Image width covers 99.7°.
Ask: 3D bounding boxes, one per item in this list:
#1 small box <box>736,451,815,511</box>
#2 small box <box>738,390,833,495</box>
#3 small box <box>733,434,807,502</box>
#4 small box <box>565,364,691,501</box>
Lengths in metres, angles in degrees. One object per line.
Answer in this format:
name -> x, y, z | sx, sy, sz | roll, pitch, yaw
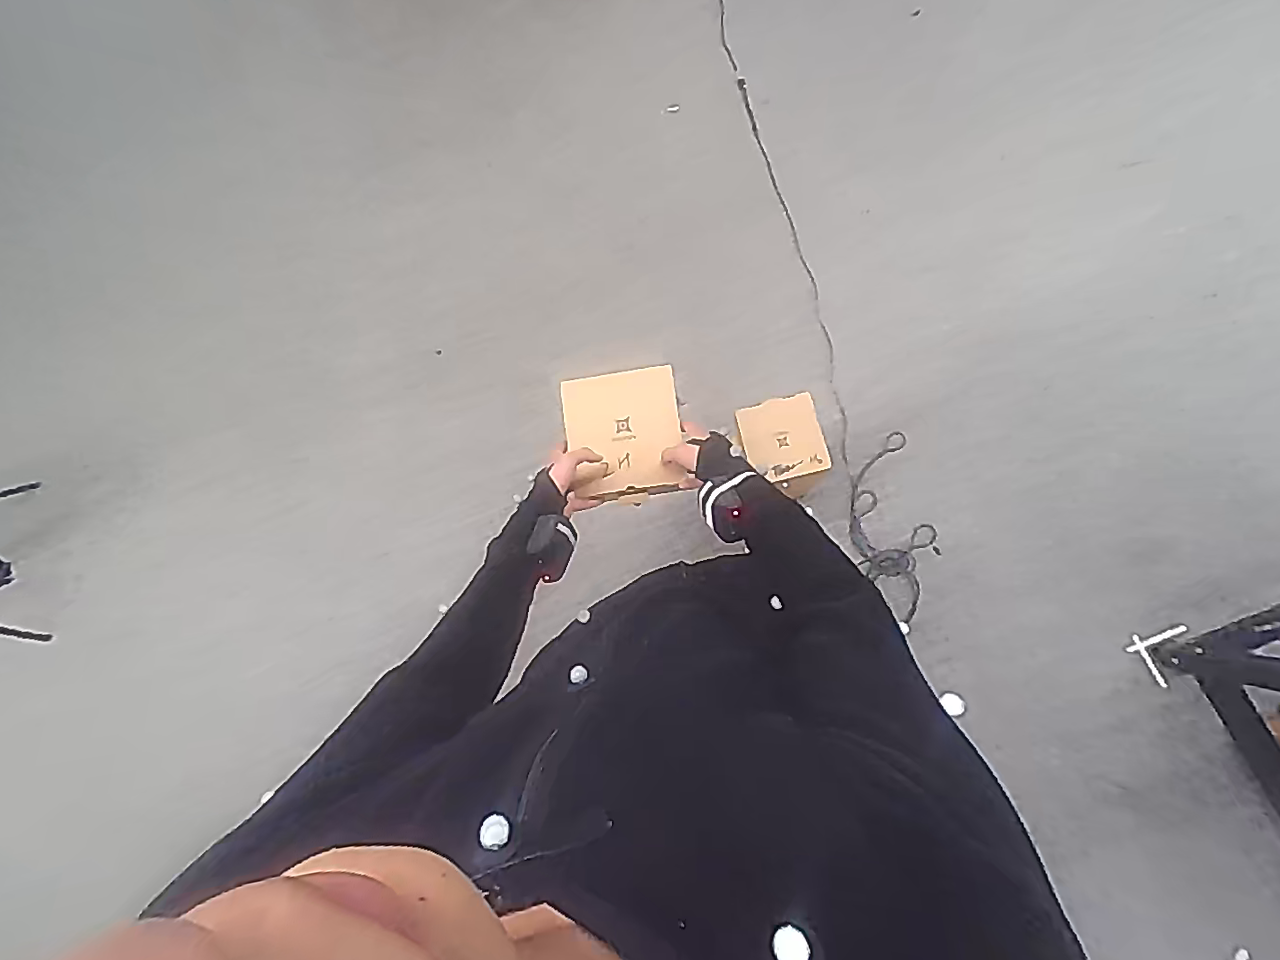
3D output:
small box -> 0.379, -0.027, 1.540 | 0.168, 0.176, 0.179 | -23, 78, 6
small box -> 0.319, -0.077, 1.223 | 0.168, 0.176, 0.179 | -14, 77, 8
small box -> 0.351, -0.052, 1.383 | 0.179, 0.176, 0.168 | -21, 77, 7
small box -> -0.014, -0.066, 0.852 | 0.168, 0.176, 0.179 | -8, 86, 4
